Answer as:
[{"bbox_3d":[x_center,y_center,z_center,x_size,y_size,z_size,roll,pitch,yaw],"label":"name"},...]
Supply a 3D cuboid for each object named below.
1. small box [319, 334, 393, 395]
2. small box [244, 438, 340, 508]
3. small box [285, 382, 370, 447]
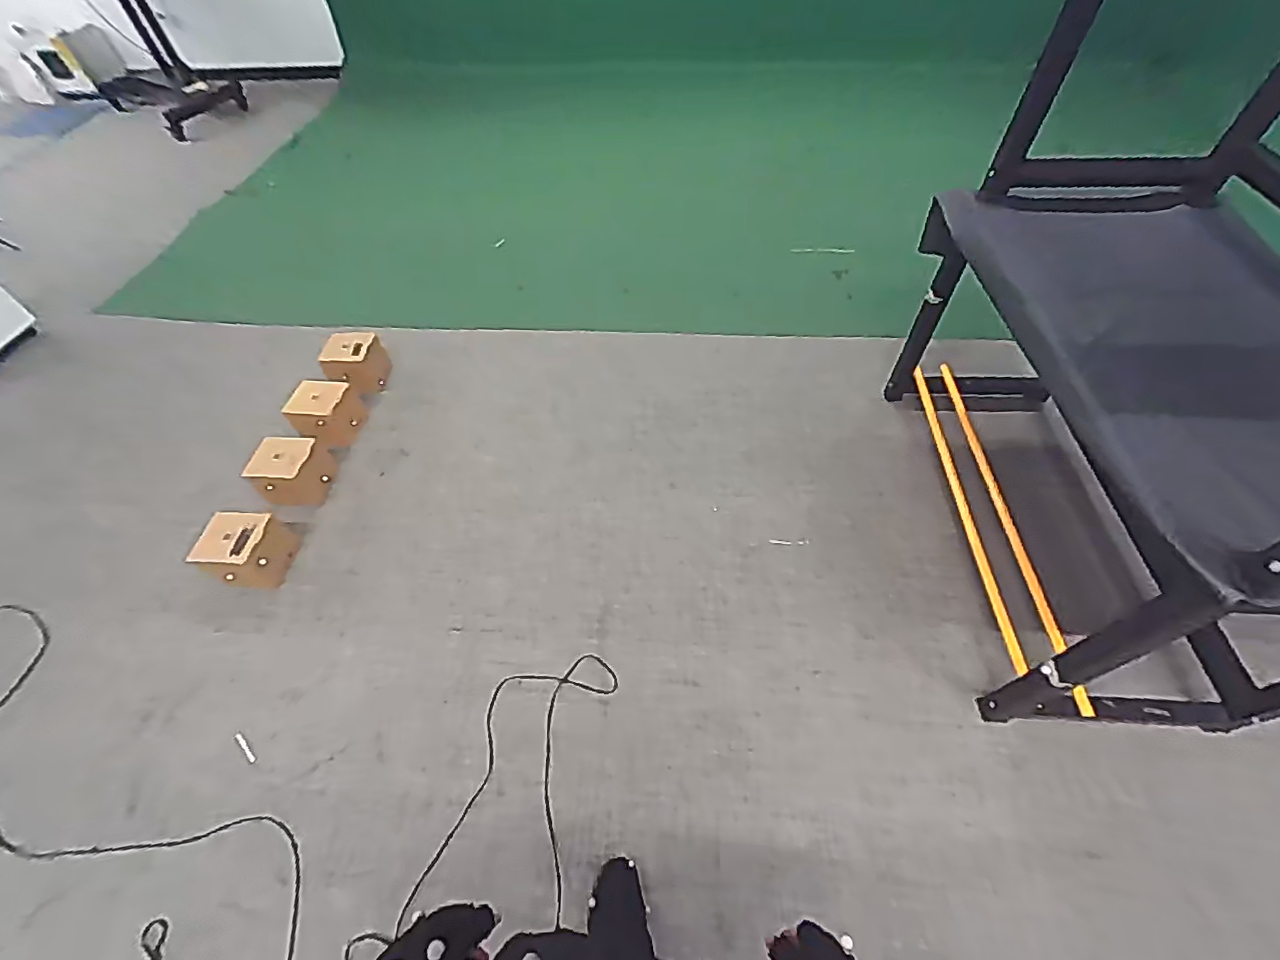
[{"bbox_3d":[-1.095,-0.446,2.104,0.179,0.176,0.168,1,53,3],"label":"small box"},{"bbox_3d":[-1.133,-0.021,1.777,0.179,0.176,0.168,2,54,3],"label":"small box"},{"bbox_3d":[-1.115,-0.232,1.942,0.179,0.176,0.168,4,53,4],"label":"small box"}]
